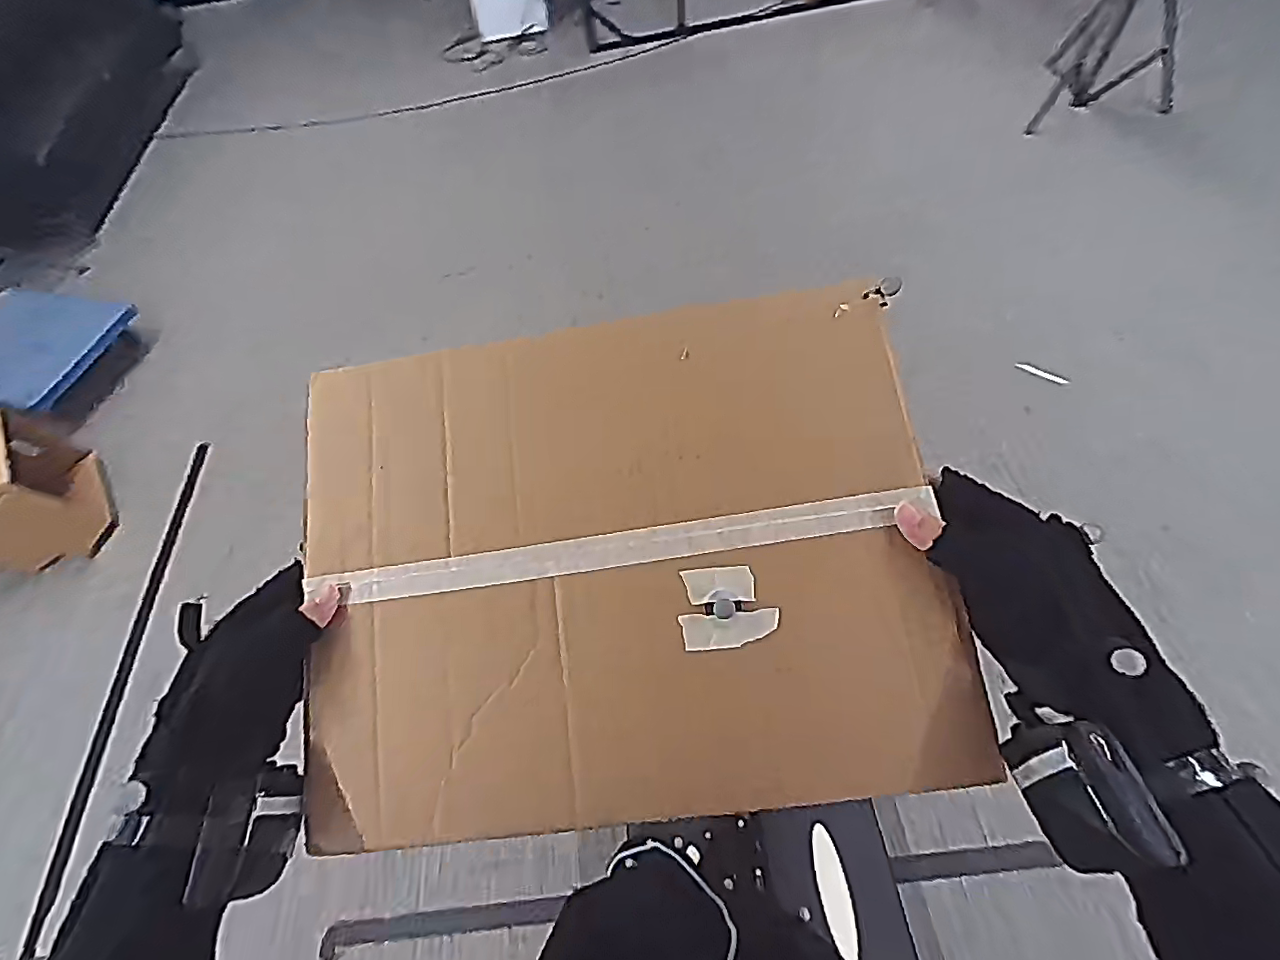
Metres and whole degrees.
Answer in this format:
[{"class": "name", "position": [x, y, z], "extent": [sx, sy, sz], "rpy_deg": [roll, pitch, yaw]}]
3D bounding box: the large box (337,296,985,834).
[{"class": "large box", "position": [0.001, 0.079, 0.505], "extent": [0.408, 0.320, 0.320], "rpy_deg": [-8, 77, 4]}]
